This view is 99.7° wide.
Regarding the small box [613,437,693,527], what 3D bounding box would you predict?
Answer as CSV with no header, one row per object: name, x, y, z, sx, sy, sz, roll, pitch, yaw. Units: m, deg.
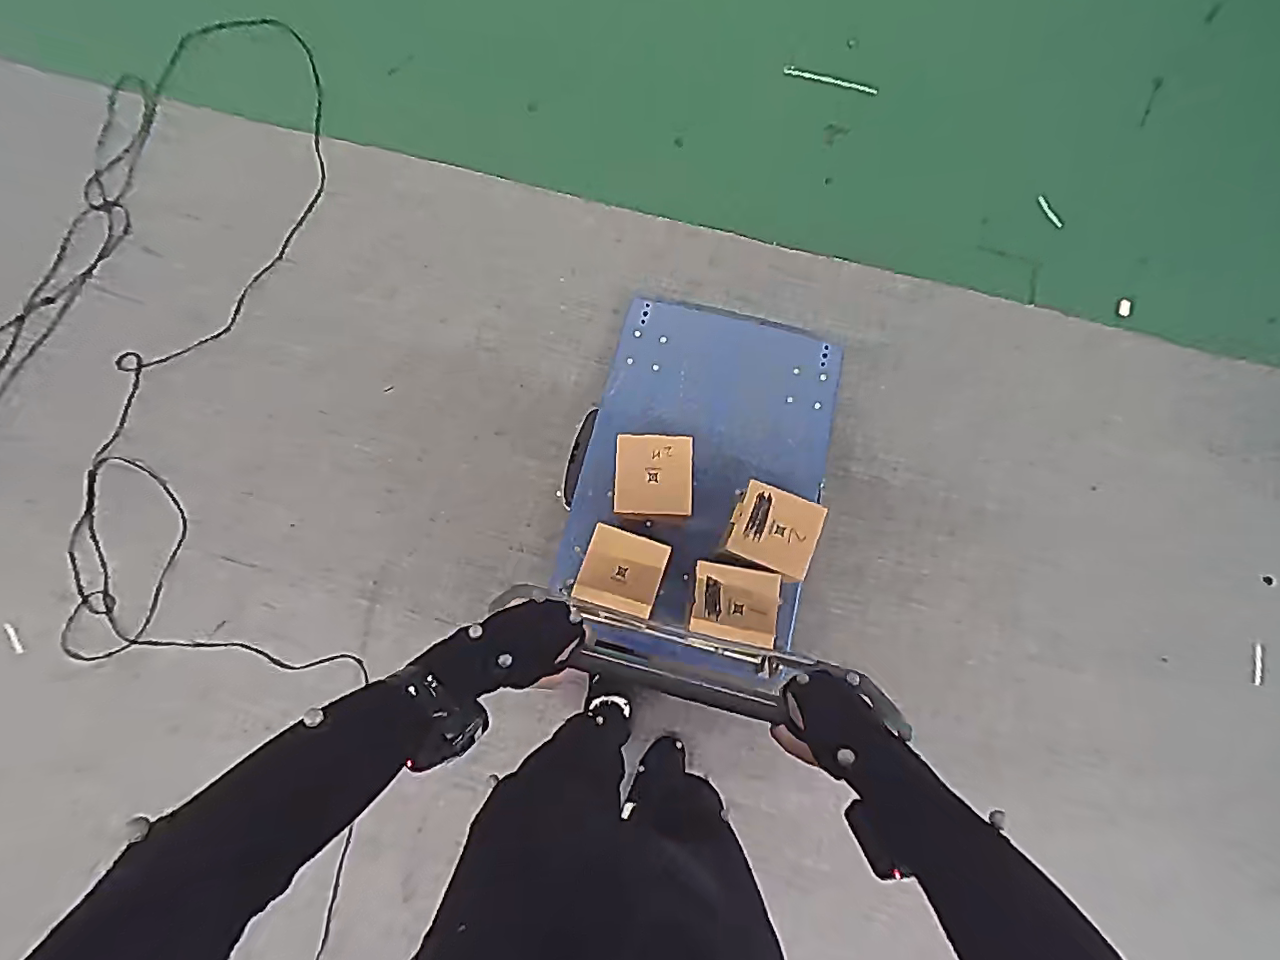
small box,0.028,0.011,1.231,0.168,0.176,0.179,3,77,-1
